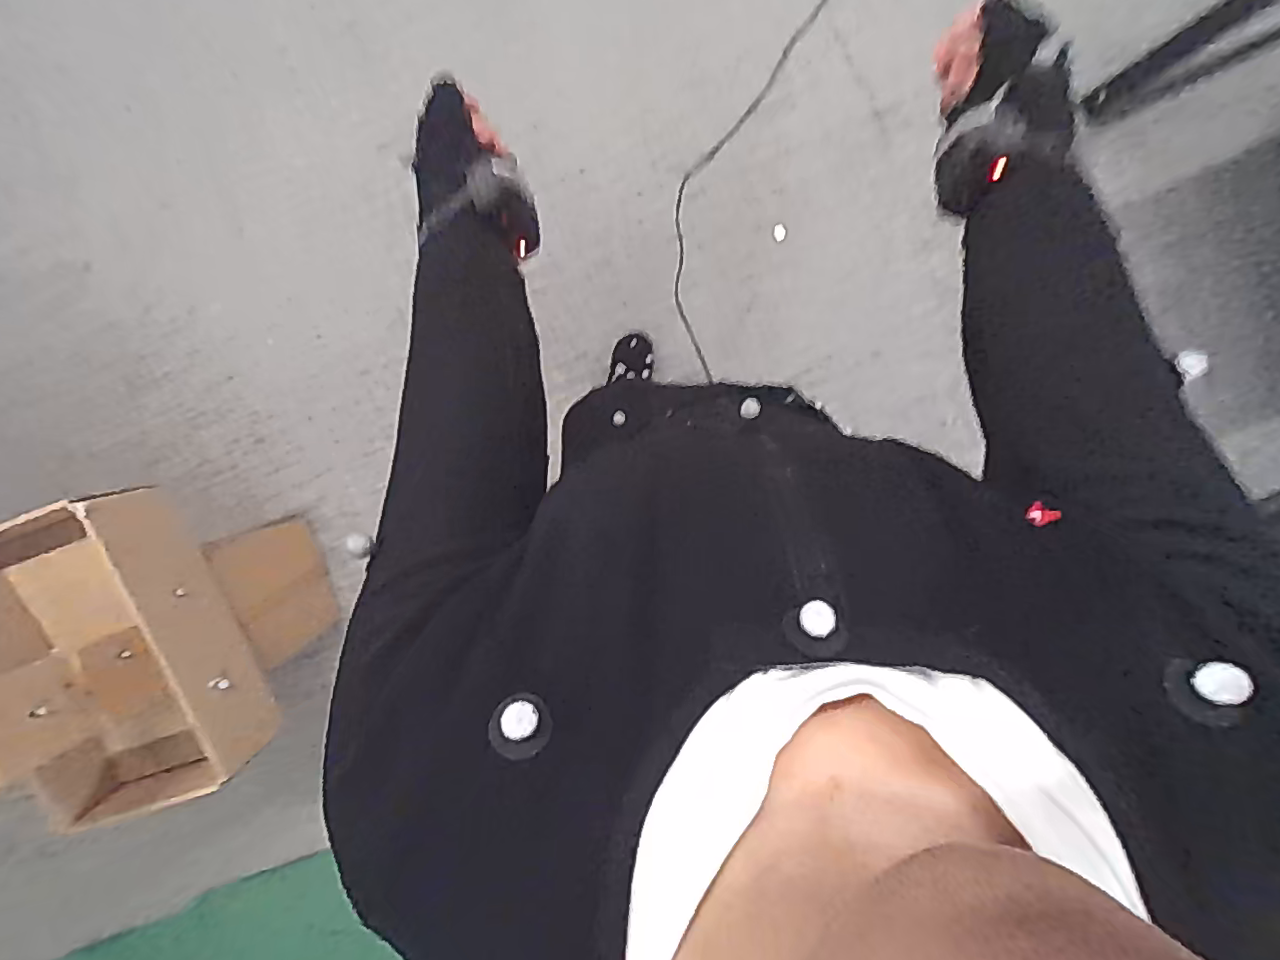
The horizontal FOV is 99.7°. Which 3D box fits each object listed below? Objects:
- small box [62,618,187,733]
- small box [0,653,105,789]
[{"bbox_3d":[-1.086,0.407,1.109,0.179,0.176,0.168,-20,96,9],"label":"small box"},{"bbox_3d":[-1.107,0.432,0.948,0.179,0.176,0.168,-22,96,7],"label":"small box"}]
